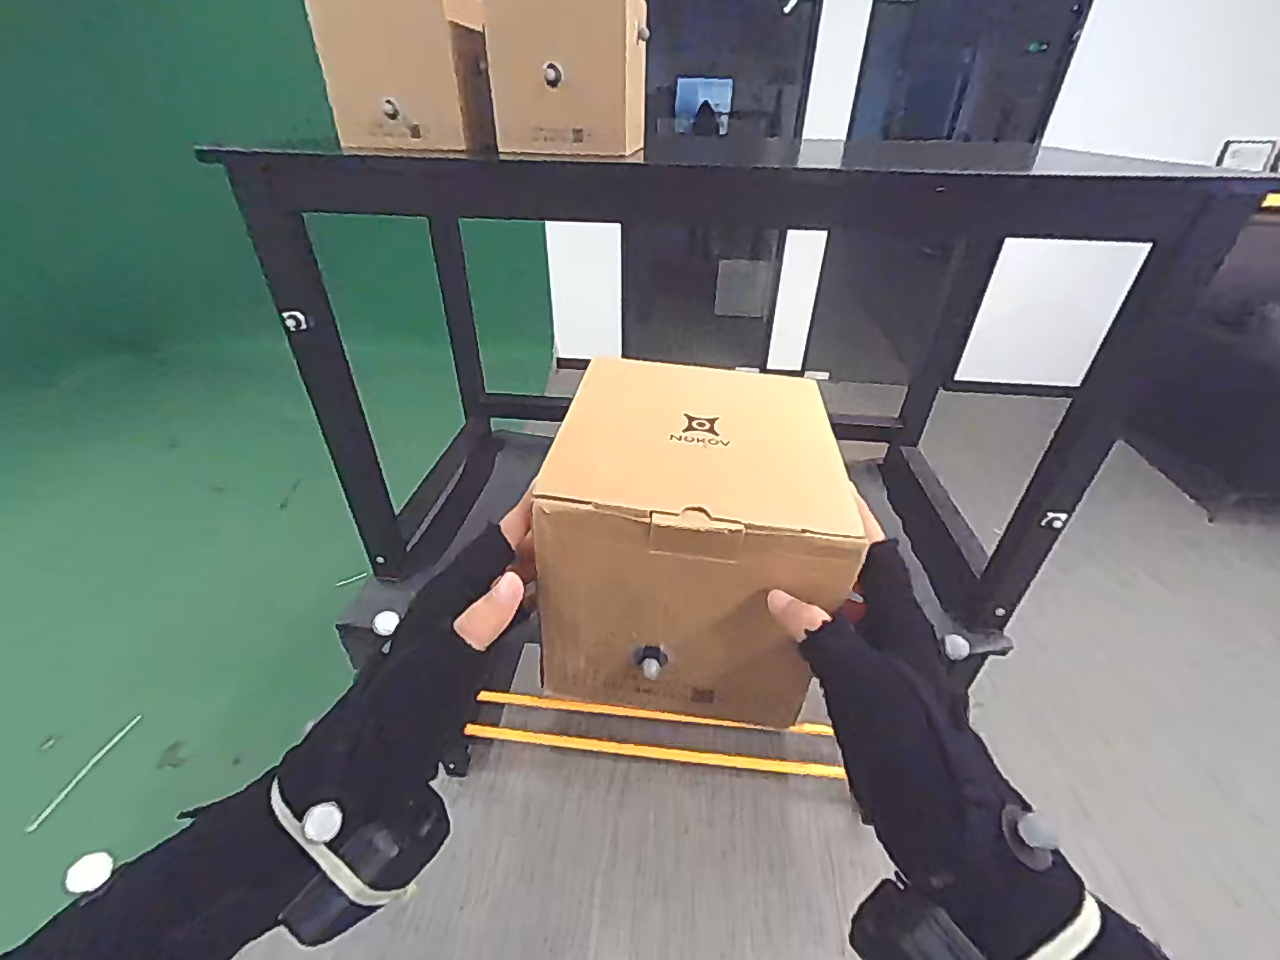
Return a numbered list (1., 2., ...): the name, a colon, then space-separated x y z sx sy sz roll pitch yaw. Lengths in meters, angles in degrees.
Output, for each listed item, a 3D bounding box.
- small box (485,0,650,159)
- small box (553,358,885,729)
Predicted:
1. small box: -0.079 -0.514 0.691 0.168 0.176 0.179 5 35 5
2. small box: 0.039 0.036 0.373 0.168 0.176 0.179 7 37 3
